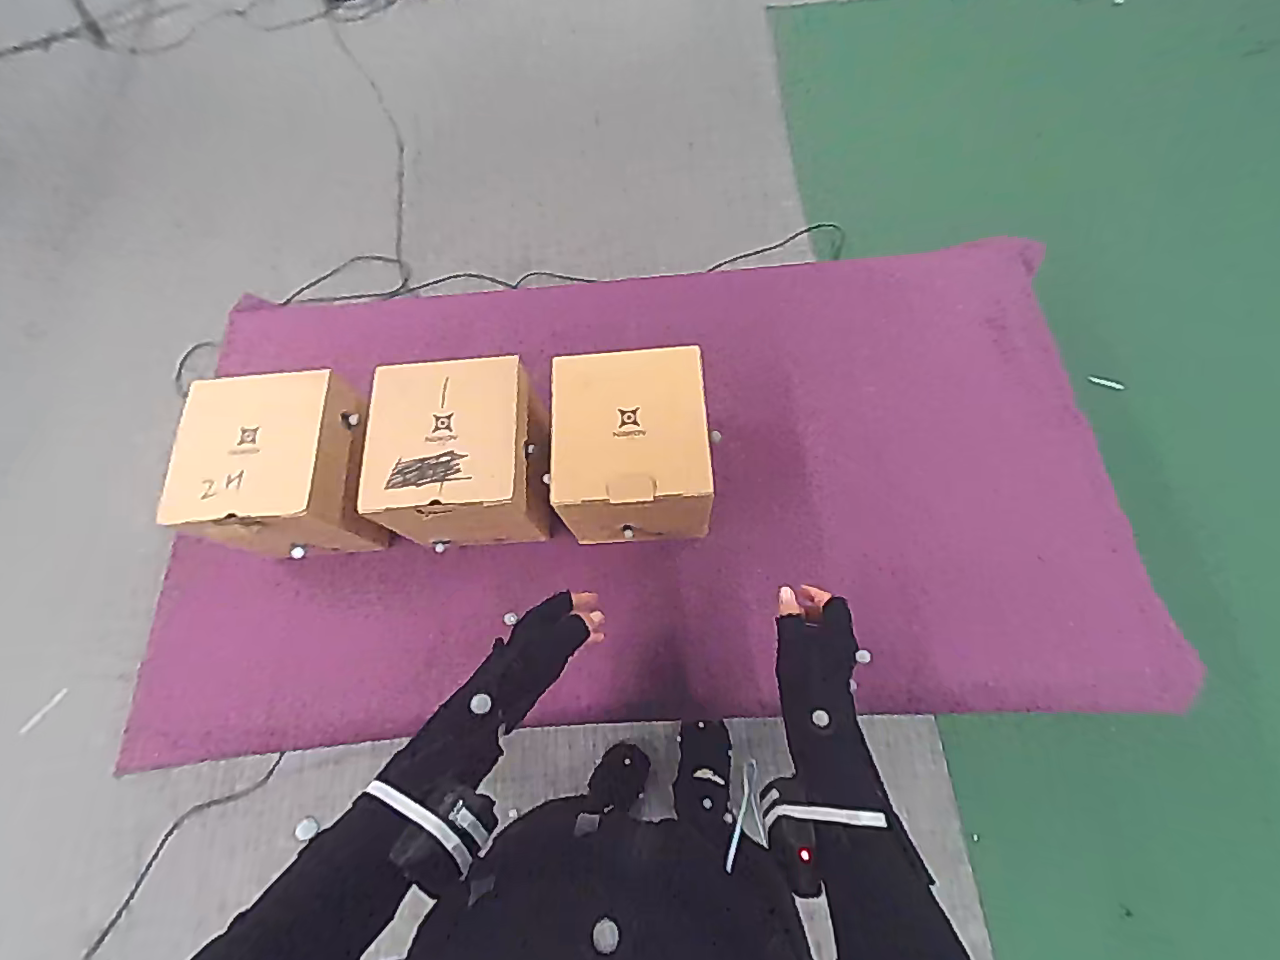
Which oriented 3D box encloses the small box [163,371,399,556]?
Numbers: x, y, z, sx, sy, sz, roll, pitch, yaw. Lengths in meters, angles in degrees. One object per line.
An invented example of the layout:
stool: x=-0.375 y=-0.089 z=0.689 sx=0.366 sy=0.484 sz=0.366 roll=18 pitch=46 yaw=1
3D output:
small box: x=-0.422 y=-0.013 z=0.671 sx=0.168 sy=0.176 sz=0.179 roll=-4 pitch=70 yaw=3
